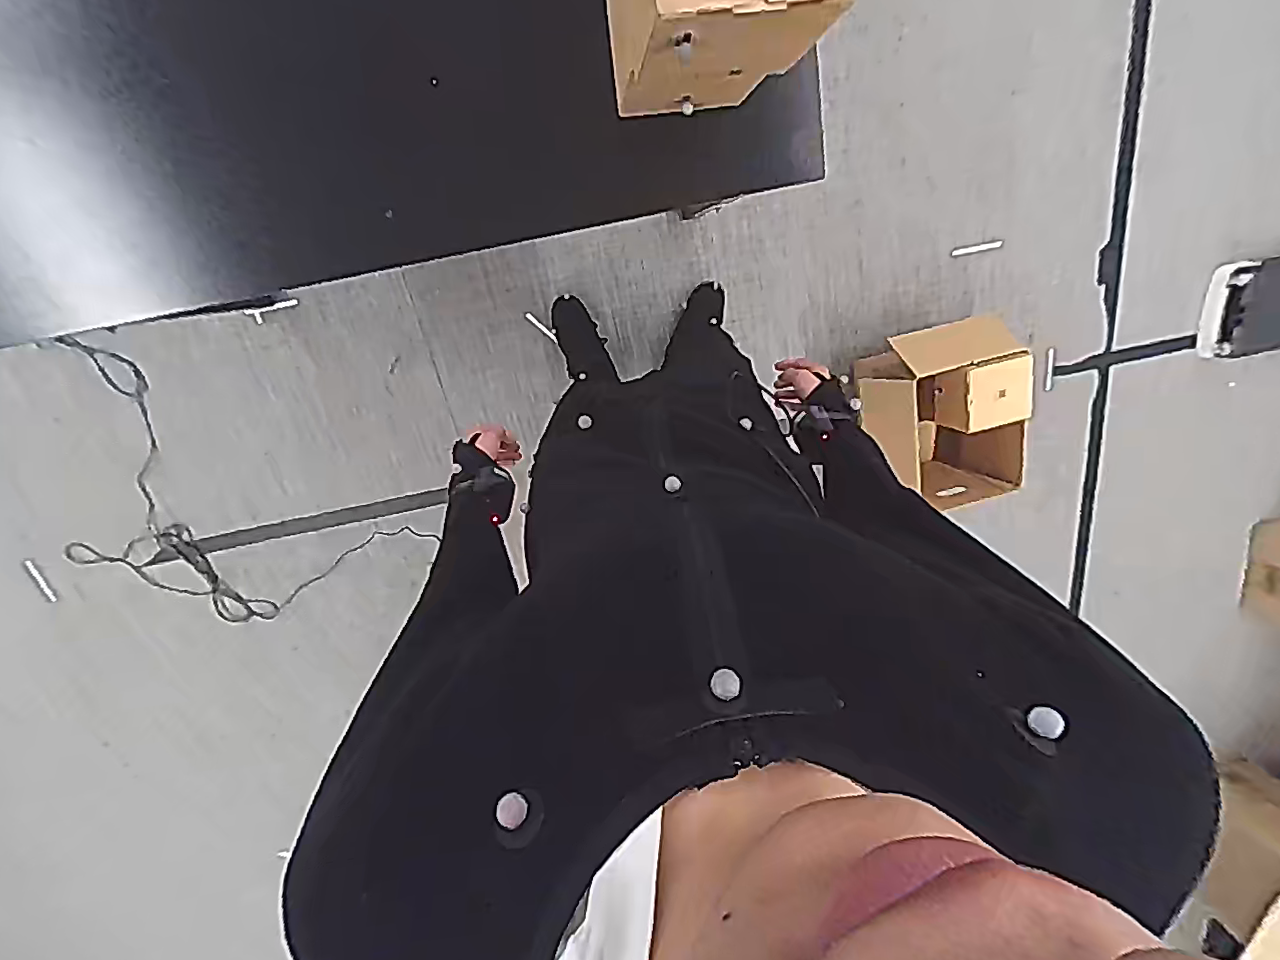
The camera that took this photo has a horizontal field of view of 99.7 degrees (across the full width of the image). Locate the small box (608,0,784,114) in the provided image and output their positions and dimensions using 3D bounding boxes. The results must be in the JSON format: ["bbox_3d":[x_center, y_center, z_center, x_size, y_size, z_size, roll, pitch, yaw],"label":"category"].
[{"bbox_3d":[0.054,-0.544,0.610,0.168,0.176,0.179,-8,111,-4],"label":"small box"}]
